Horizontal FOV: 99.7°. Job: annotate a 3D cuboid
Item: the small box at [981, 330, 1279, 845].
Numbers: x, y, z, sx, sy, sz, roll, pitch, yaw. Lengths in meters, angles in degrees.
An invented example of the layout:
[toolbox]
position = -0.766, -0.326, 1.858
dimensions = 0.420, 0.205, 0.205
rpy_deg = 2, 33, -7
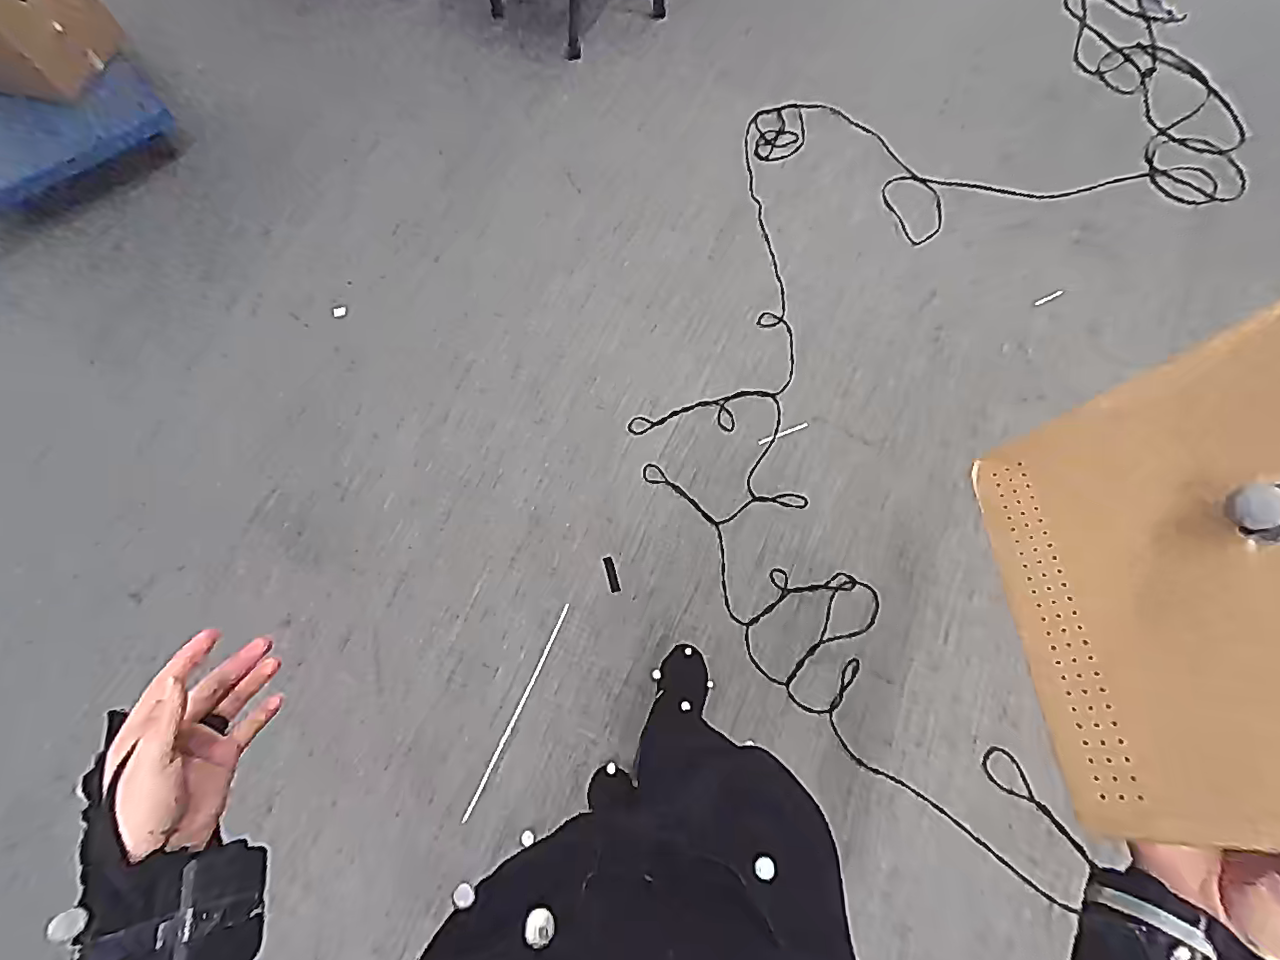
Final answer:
[small box]
position = 0.289, 0.050, 0.228
dimensions = 0.168, 0.176, 0.179
rpy_deg = 12, 58, -20
